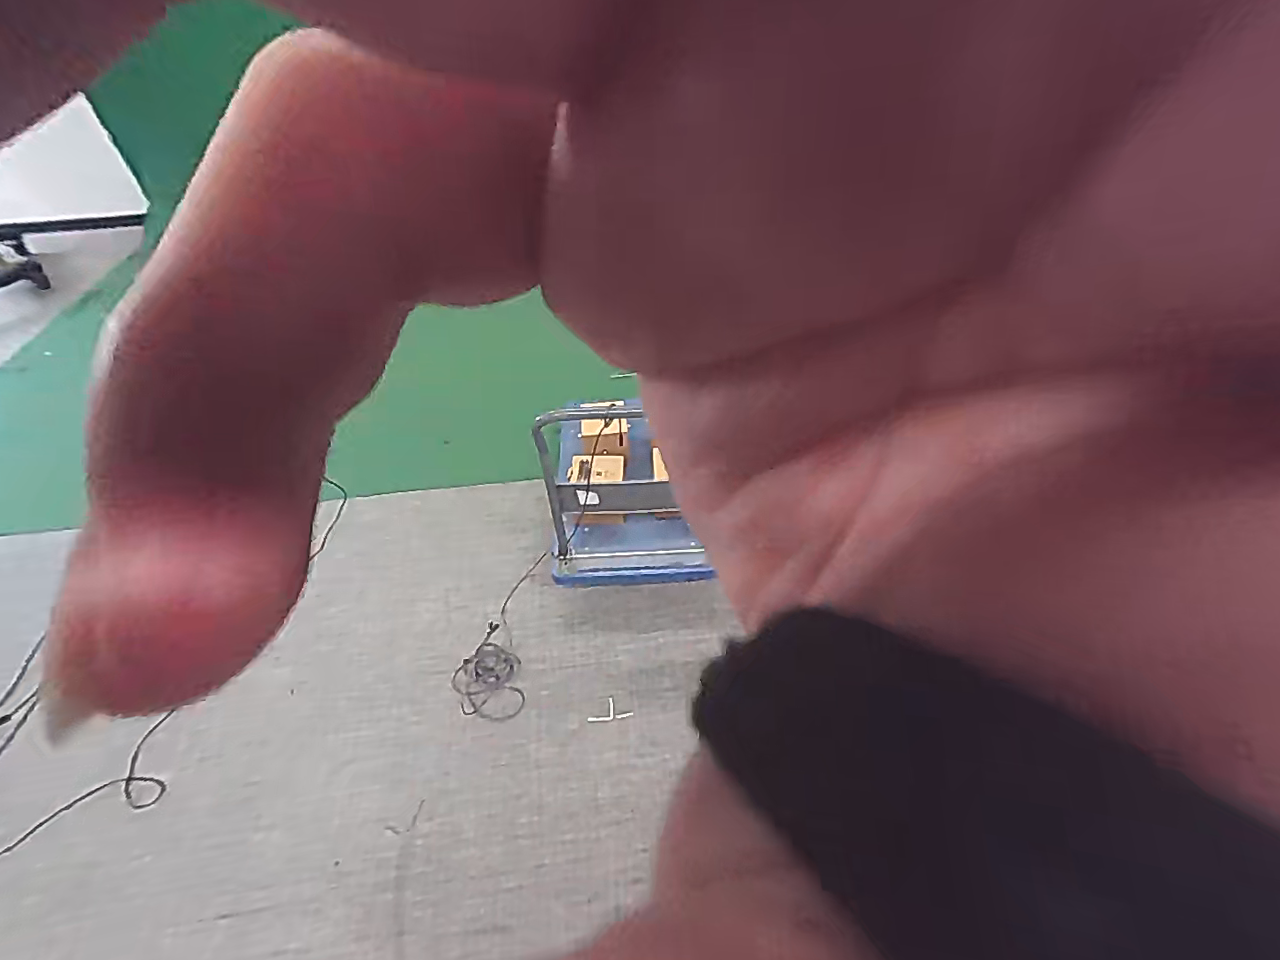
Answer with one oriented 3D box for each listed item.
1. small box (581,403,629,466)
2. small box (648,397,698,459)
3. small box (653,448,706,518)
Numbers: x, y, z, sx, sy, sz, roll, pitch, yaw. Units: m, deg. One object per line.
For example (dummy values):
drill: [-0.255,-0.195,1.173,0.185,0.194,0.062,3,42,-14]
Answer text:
small box: [-0.130,-0.164,2.025,0.168,0.176,0.179,-5,48,-4]
small box: [0.120,-0.189,2.039,0.168,0.176,0.179,-6,49,-2]
small box: [0.131,0.011,1.858,0.168,0.176,0.179,-2,48,0]
